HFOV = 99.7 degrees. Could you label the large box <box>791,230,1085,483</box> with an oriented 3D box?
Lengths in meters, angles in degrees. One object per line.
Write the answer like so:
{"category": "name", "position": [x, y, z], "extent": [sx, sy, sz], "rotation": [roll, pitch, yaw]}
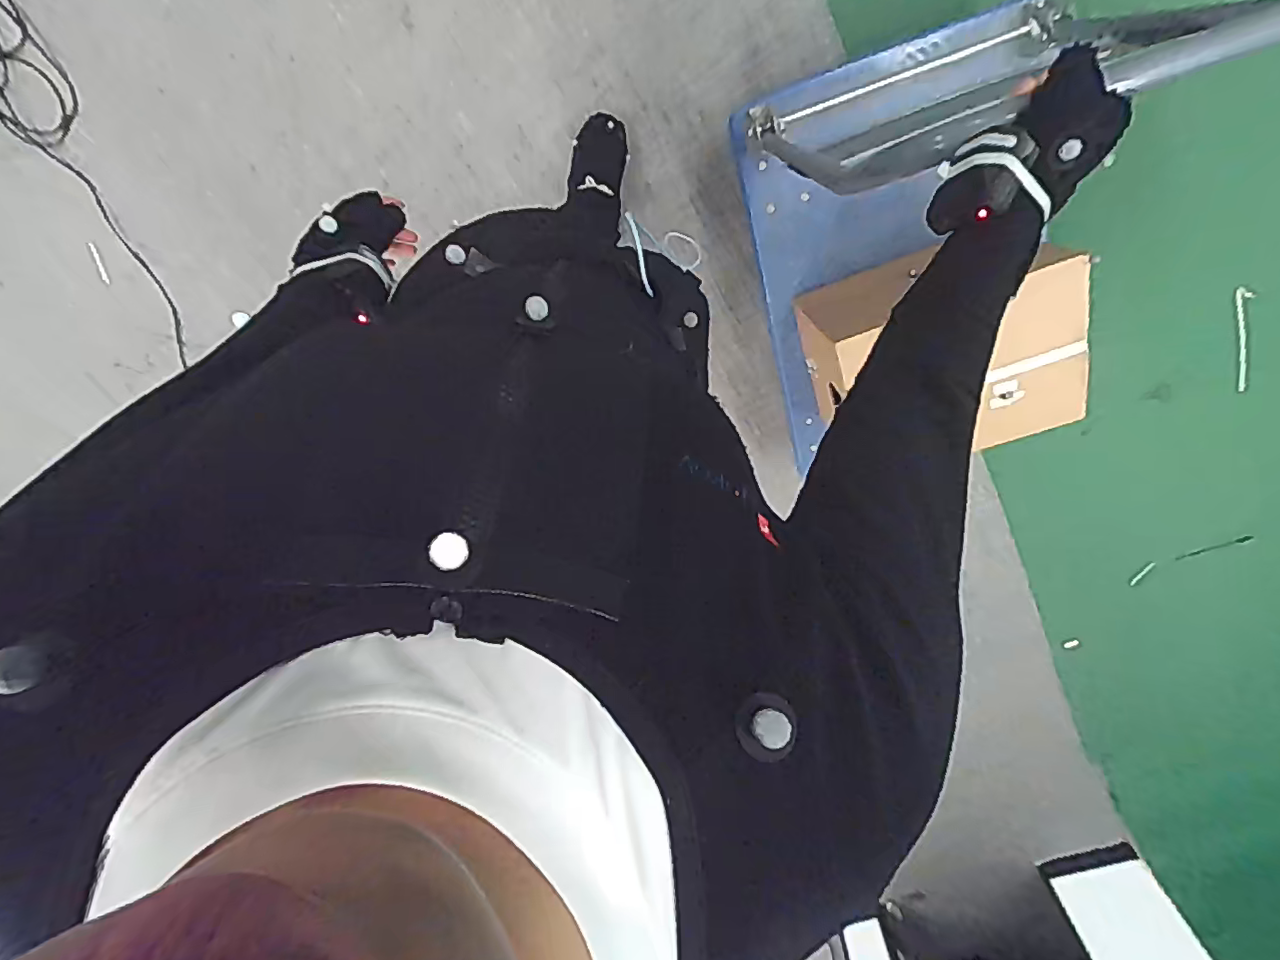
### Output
{"category": "large box", "position": [0.567, -0.254, 1.085], "extent": [0.408, 0.320, 0.320], "rotation": [-19, 121, 11]}
